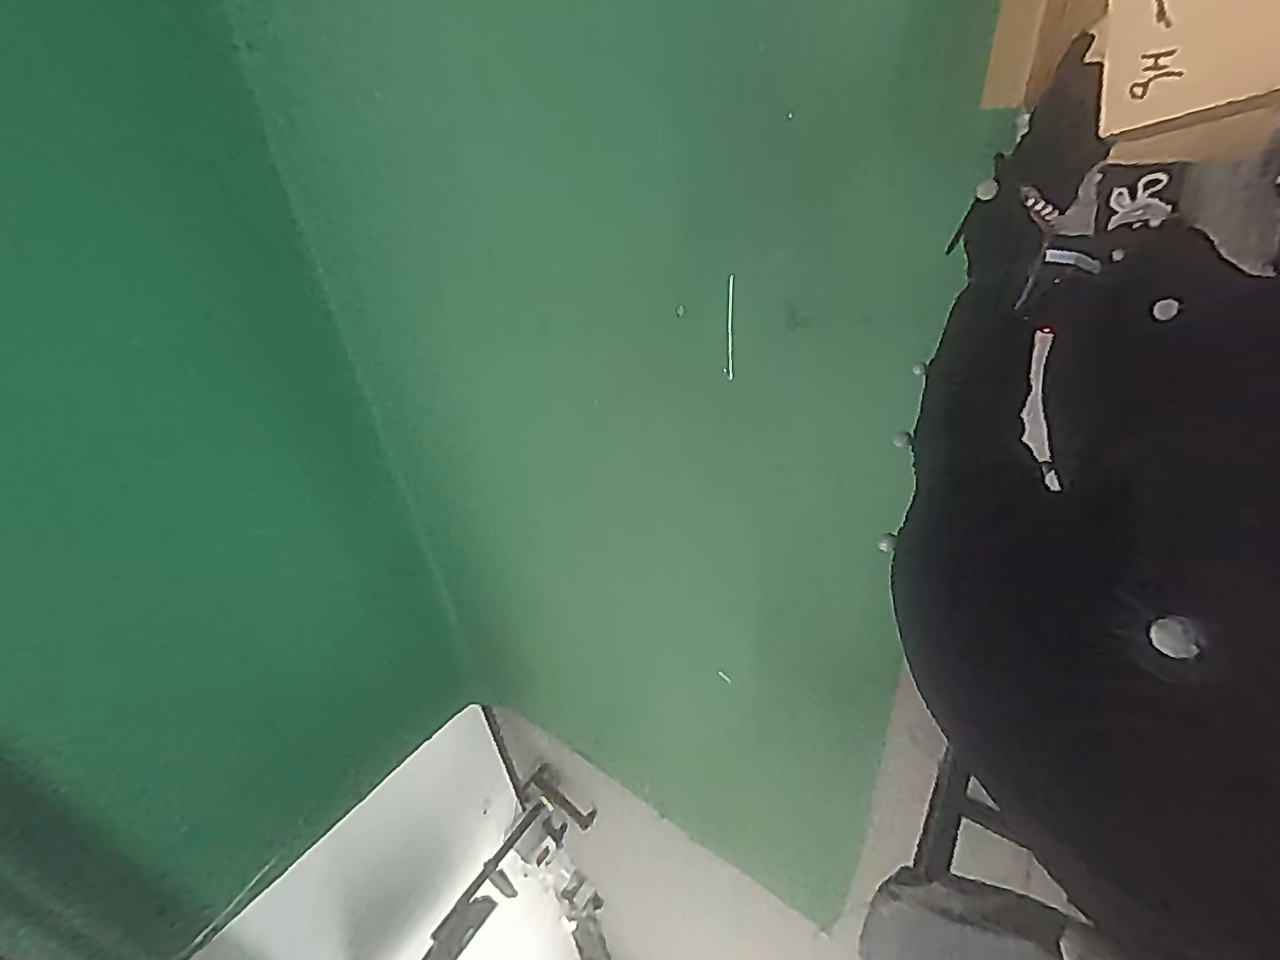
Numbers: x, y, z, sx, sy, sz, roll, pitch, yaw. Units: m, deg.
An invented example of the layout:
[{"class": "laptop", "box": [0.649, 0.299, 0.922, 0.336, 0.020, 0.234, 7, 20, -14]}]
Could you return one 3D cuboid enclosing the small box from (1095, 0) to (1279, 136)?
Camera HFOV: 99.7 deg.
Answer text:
[{"class": "small box", "box": [0.418, -0.336, 0.339, 0.179, 0.176, 0.168, 10, 119, 45]}]
